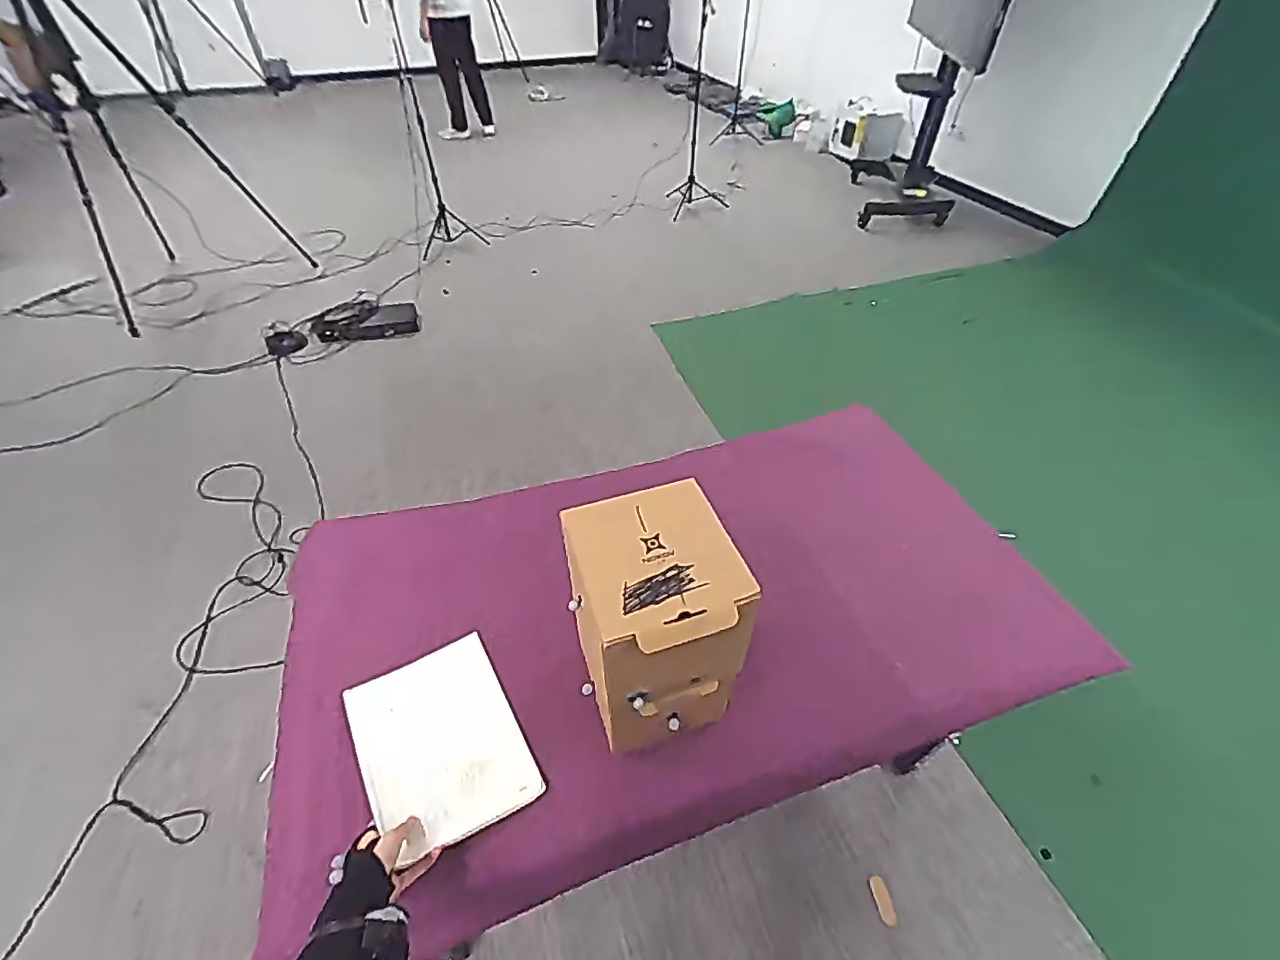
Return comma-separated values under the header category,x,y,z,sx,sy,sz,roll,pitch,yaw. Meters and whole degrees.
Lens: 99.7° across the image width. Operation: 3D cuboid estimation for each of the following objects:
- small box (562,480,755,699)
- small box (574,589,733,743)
category,x,y,z,sx,sy,sz,roll,pitch,yaw
small box,0.015,0.132,0.632,0.168,0.176,0.179,-14,46,-13
small box,0.013,0.243,0.755,0.168,0.176,0.179,-13,48,-13
